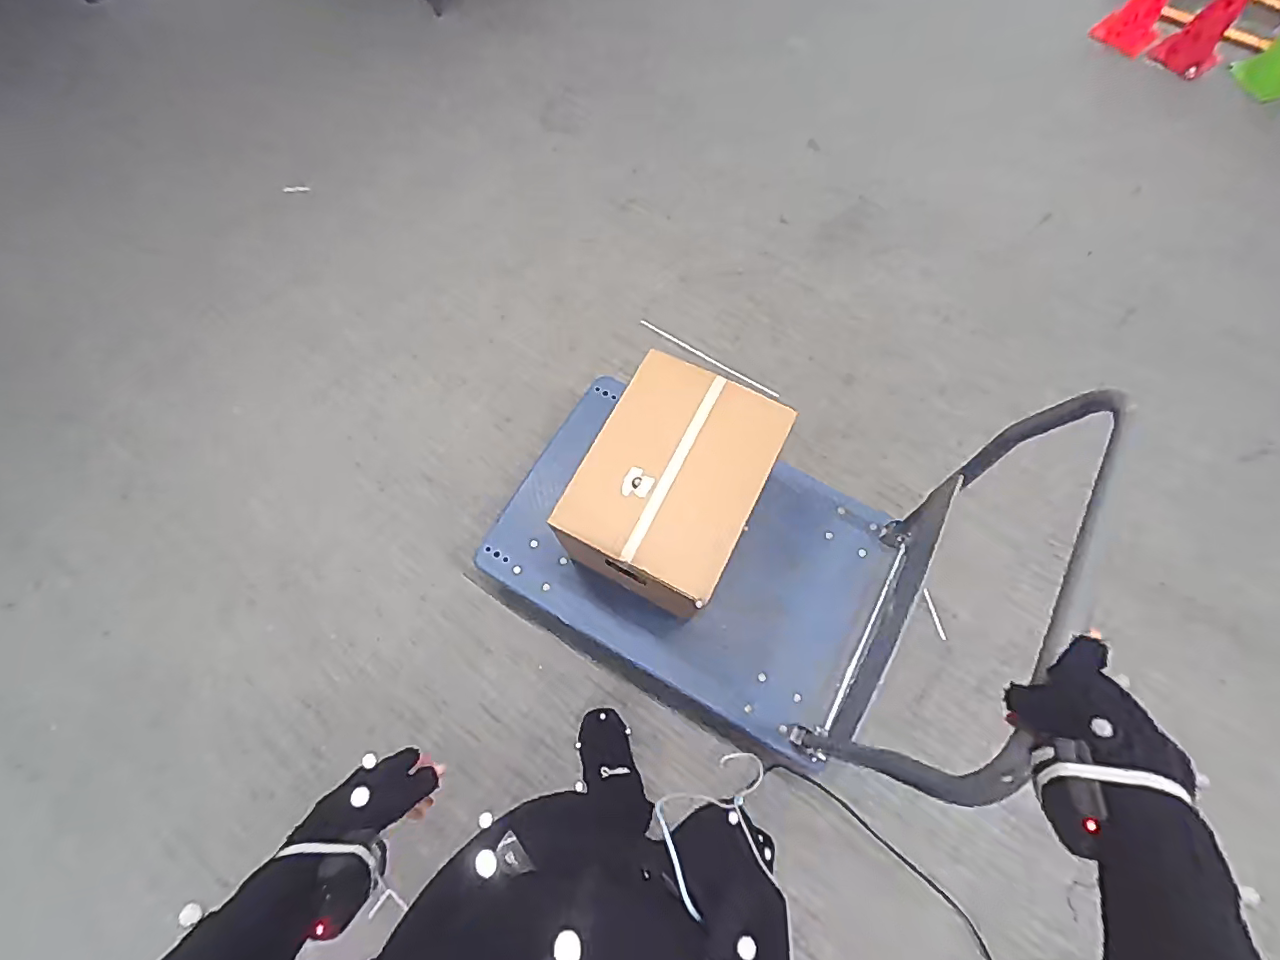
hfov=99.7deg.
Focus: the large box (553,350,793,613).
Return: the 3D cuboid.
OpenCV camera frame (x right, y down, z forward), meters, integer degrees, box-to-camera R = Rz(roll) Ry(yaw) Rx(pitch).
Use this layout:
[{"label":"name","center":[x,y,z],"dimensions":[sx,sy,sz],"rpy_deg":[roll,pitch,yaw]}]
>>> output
[{"label":"large box","center":[0.070,0.019,1.126],"dimensions":[0.320,0.320,0.408],"rpy_deg":[26,74,10]}]
